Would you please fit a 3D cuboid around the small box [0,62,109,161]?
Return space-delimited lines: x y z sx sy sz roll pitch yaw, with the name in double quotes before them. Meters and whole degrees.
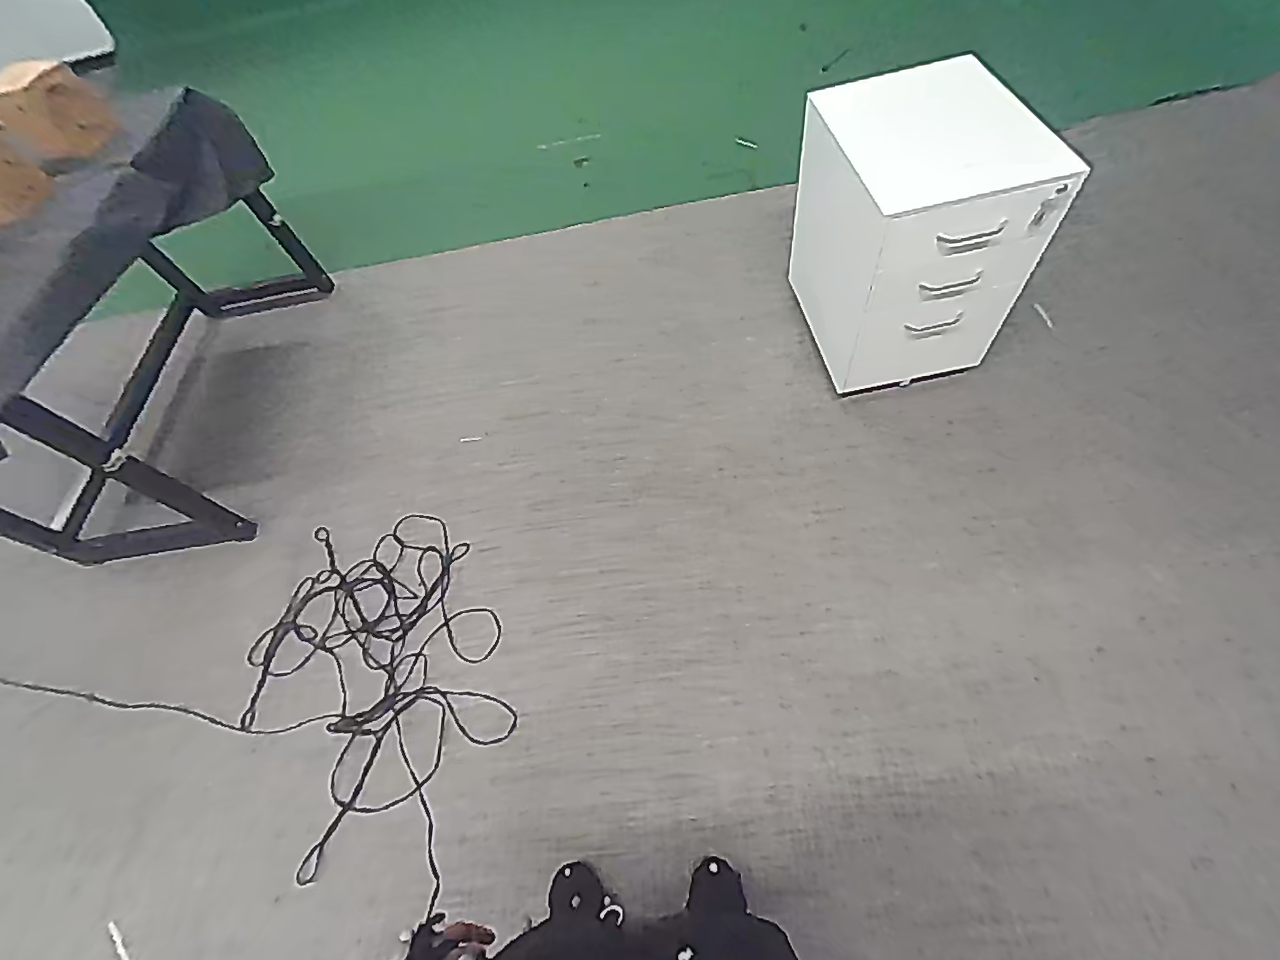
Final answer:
"small box" -1.617 -0.984 1.453 0.179 0.176 0.168 6 61 13

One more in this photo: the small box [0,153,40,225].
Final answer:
"small box" -1.644 -0.725 1.307 0.179 0.176 0.168 -6 58 8
